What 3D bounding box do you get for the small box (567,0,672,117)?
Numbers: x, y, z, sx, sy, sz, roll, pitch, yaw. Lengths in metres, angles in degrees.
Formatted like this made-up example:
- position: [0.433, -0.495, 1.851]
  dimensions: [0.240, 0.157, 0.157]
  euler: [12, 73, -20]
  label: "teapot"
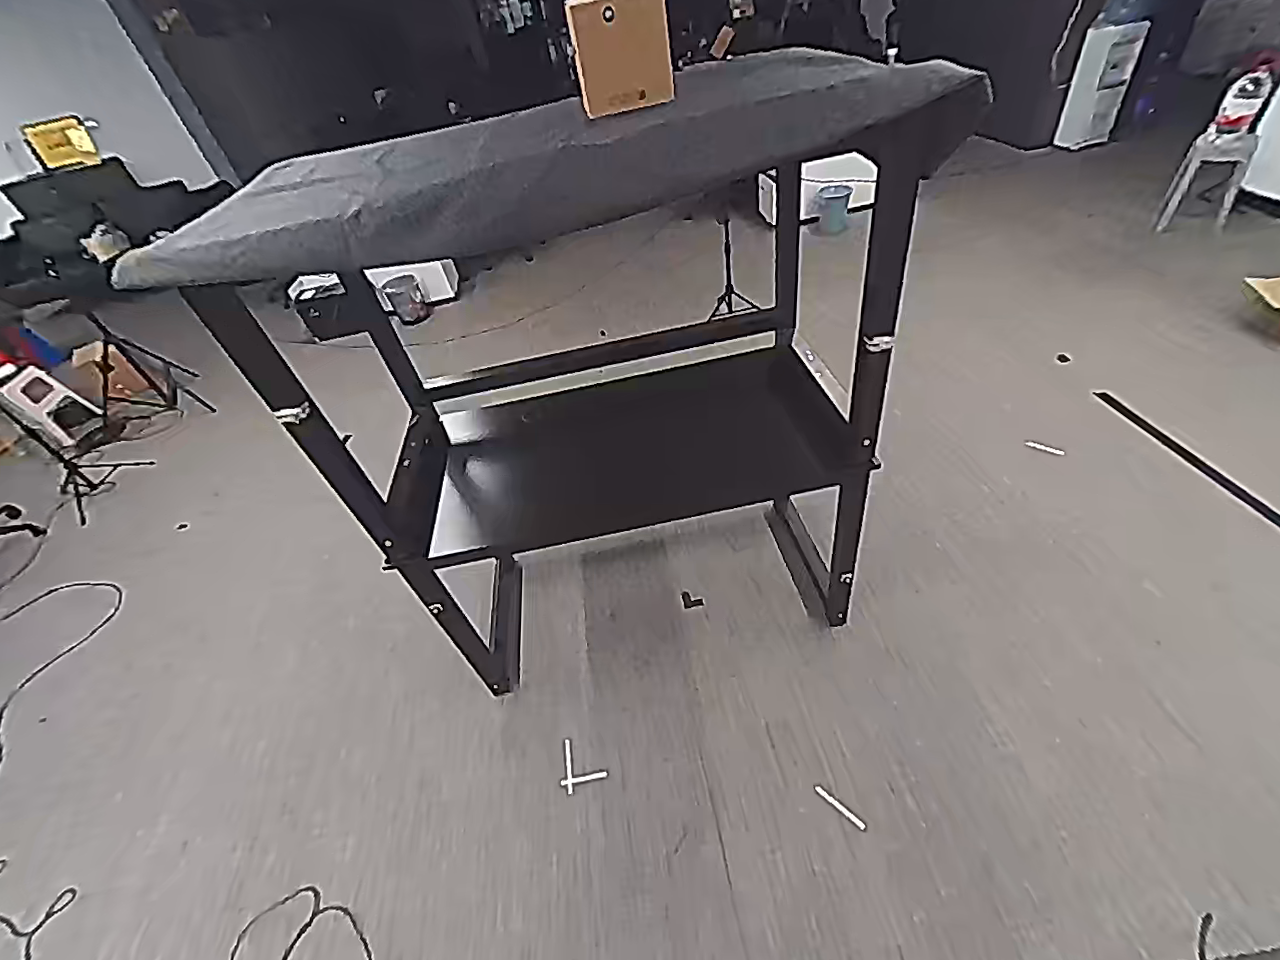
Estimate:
- position: [-0.040, -0.816, 1.036]
  dimensions: [0.168, 0.176, 0.179]
  euler: [-13, 42, 0]
  label: "small box"
